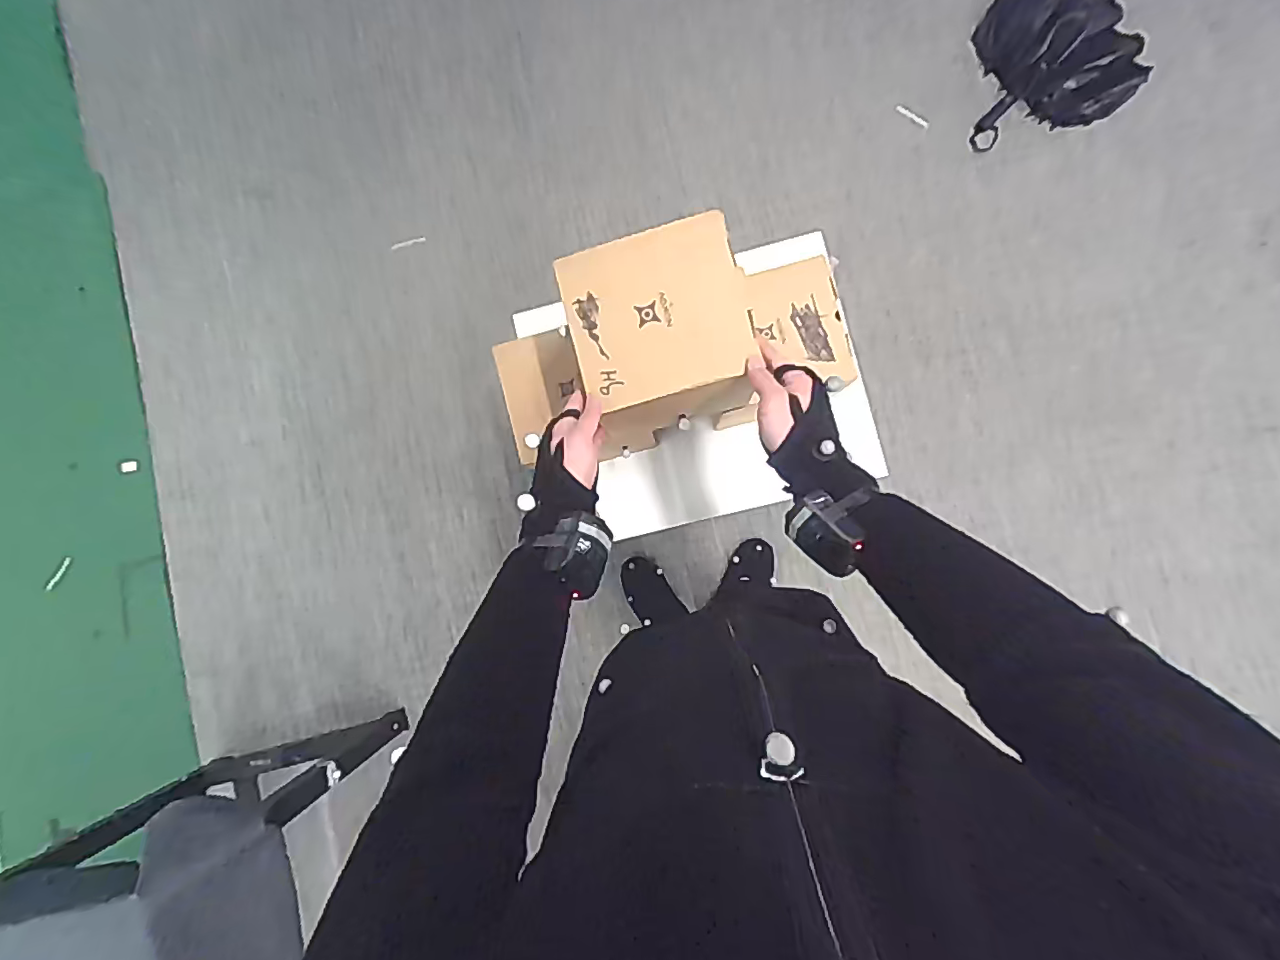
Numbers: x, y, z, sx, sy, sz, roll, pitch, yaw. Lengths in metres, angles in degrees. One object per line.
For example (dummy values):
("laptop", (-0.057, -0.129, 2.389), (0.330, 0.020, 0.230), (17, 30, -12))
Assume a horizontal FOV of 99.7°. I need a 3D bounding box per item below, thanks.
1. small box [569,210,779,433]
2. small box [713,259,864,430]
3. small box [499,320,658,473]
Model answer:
("small box", (0.035, -0.159, 0.599), (0.179, 0.176, 0.168), (-13, 84, 3))
("small box", (0.182, -0.176, 0.754), (0.179, 0.176, 0.168), (-13, 85, 4))
("small box", (-0.076, -0.114, 0.767), (0.179, 0.176, 0.168), (-15, 83, 2))
